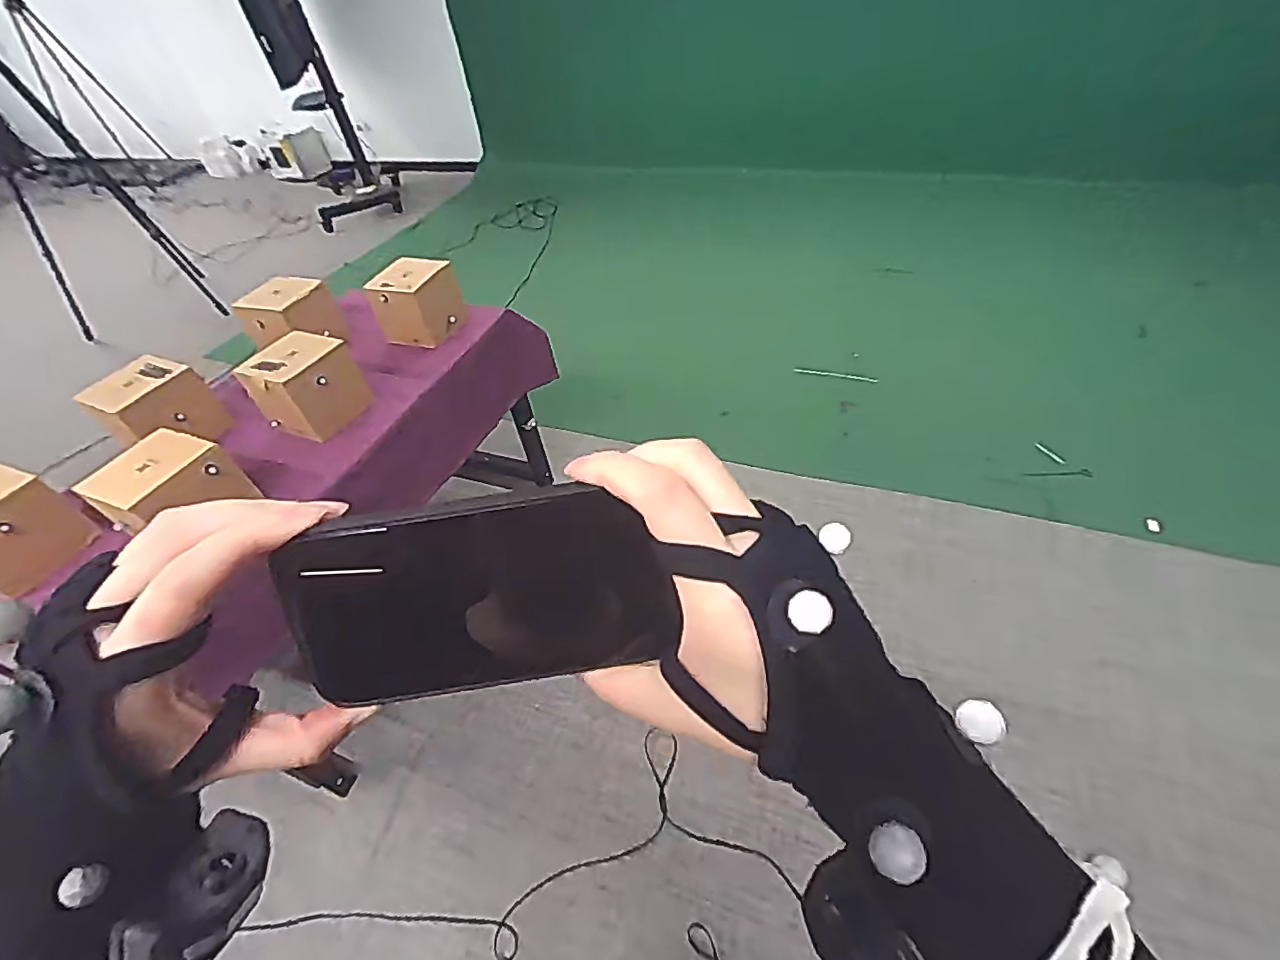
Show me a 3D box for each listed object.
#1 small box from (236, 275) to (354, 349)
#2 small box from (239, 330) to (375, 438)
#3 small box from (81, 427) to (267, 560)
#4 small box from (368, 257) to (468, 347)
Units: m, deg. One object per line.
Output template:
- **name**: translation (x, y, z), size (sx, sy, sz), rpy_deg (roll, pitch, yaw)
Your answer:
- **small box**: translation (-0.941, -0.442, 1.488), size (0.179, 0.176, 0.168), rpy_deg (11, 50, 16)
- **small box**: translation (-0.761, -0.223, 1.257), size (0.168, 0.176, 0.179), rpy_deg (15, 50, 20)
- **small box**: translation (-0.876, 0.027, 1.037), size (0.168, 0.176, 0.179), rpy_deg (13, 49, 20)
- **small box**: translation (-0.598, -0.492, 1.490), size (0.168, 0.176, 0.179), rpy_deg (11, 49, 18)
